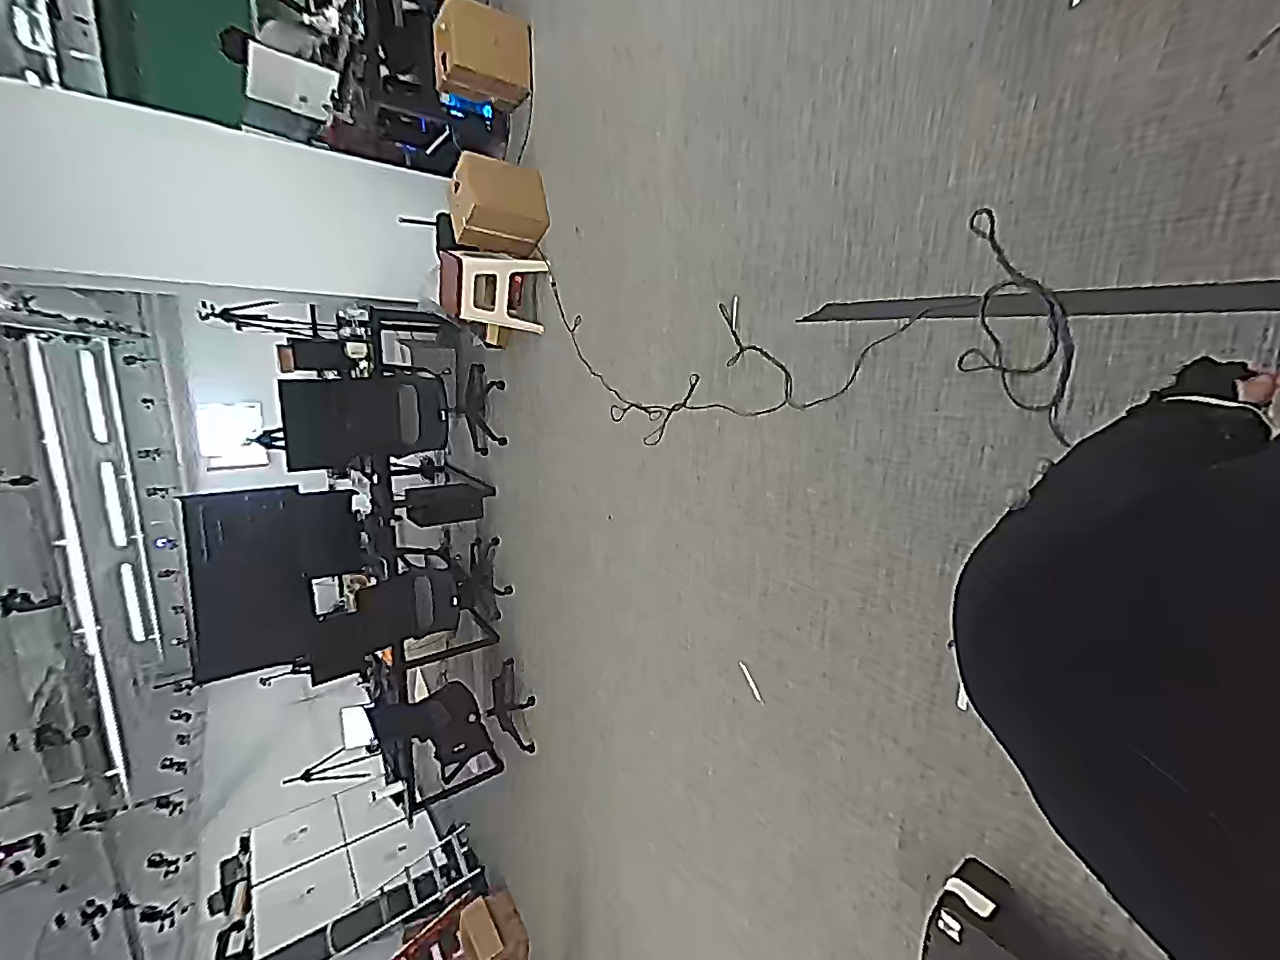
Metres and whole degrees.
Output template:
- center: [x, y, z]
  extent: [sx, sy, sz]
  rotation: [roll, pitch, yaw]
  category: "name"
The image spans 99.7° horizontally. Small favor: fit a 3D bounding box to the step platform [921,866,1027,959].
- center: [0.972, 1.212, 1.148]
  extent: [0.684, 0.204, 0.286]
  rotation: [17, 110, 51]
  category: "step platform"
